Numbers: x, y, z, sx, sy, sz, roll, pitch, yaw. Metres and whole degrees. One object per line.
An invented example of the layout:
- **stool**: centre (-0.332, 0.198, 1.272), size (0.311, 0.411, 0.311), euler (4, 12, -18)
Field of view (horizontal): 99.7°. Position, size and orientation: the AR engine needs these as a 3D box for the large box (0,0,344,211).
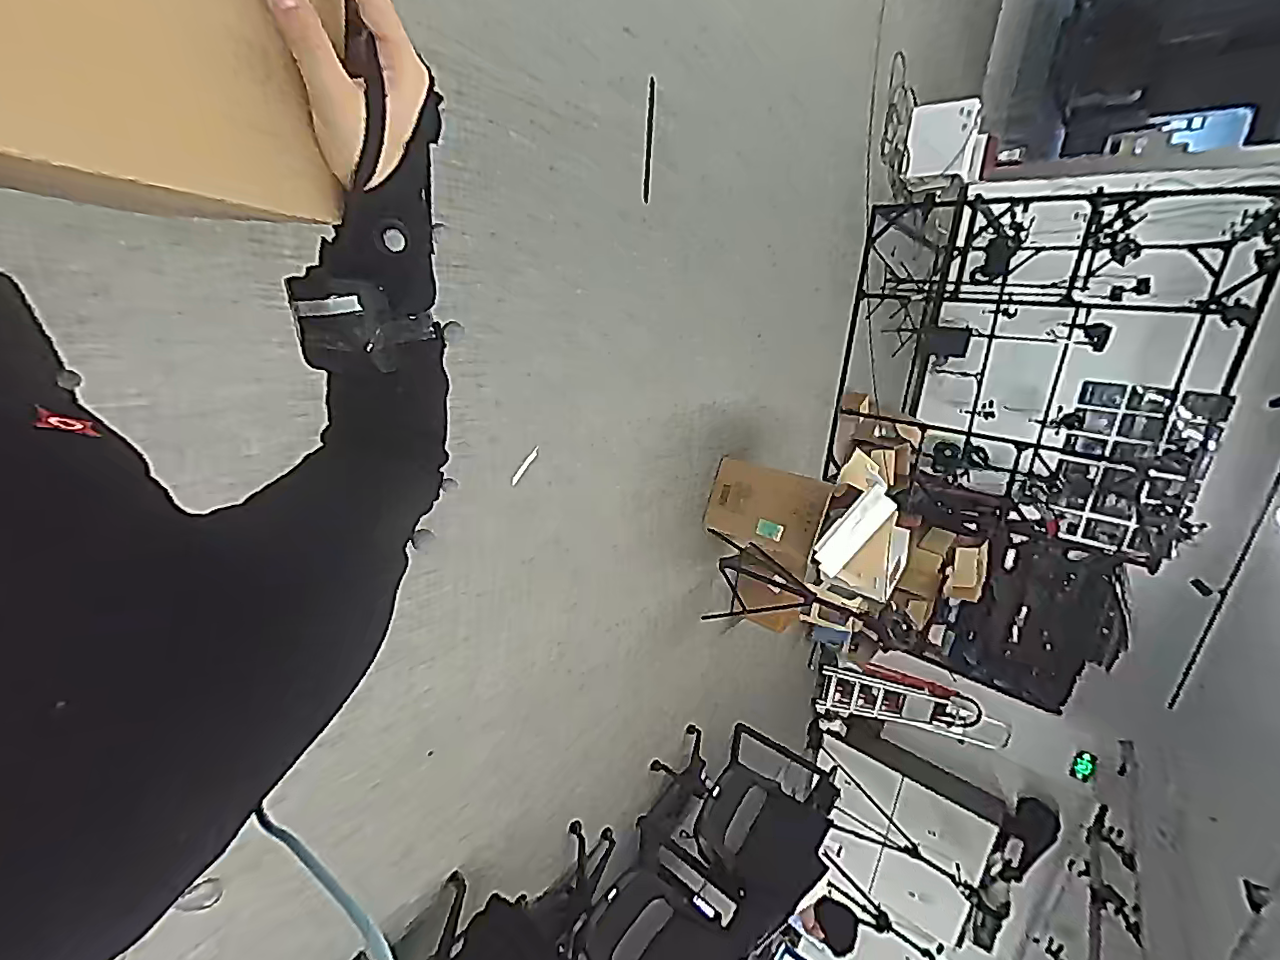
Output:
- **large box**: centre (-0.397, -0.314, 0.206), size (0.408, 0.320, 0.320), euler (-16, 120, -54)
